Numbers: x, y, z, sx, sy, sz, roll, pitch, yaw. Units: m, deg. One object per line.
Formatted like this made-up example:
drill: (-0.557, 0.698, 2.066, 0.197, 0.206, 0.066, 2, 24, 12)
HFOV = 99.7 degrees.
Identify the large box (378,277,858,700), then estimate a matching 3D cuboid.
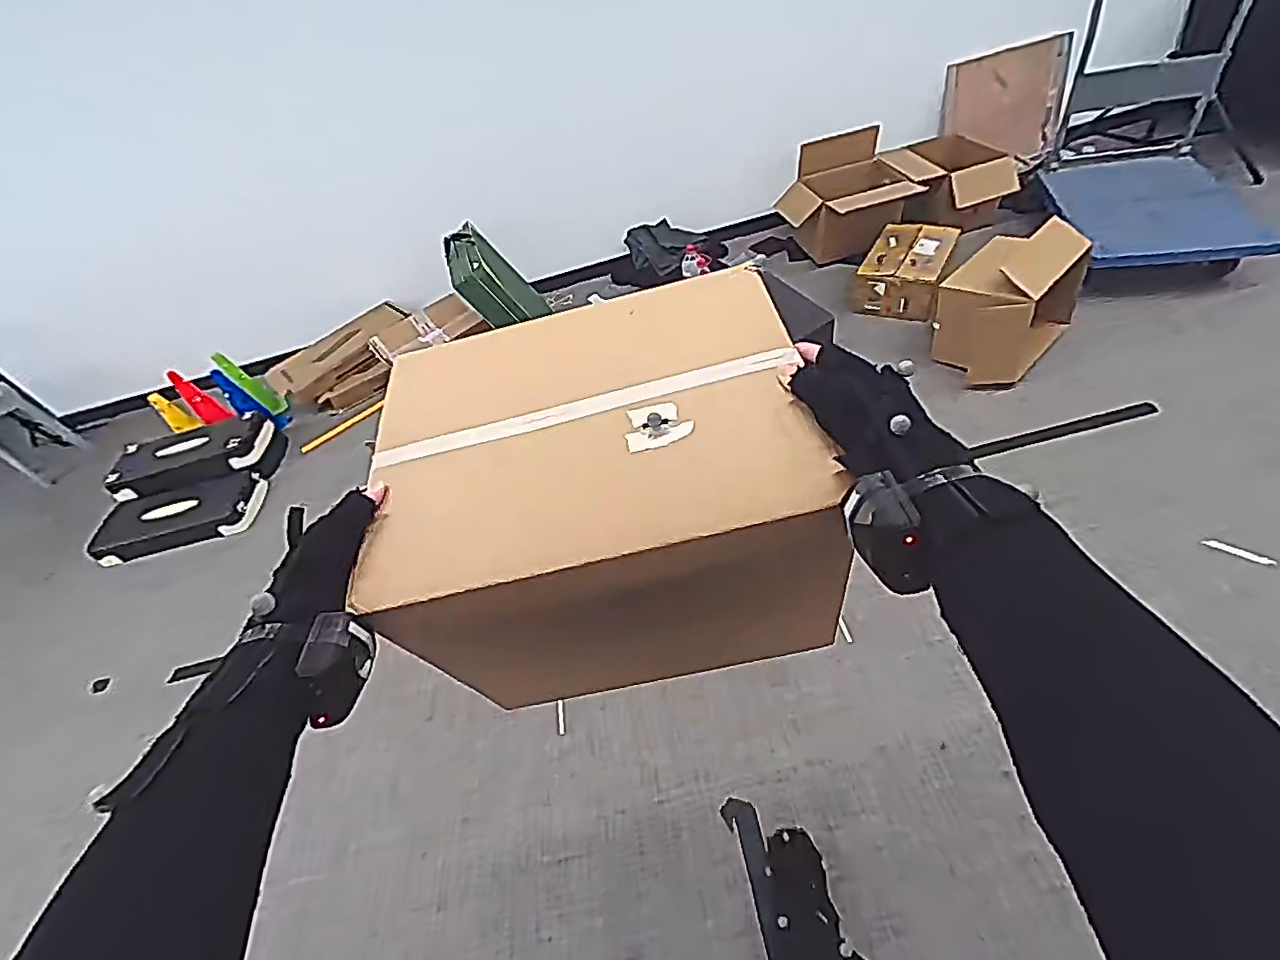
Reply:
large box: (-0.017, 0.026, 0.633, 0.408, 0.320, 0.320, -13, 53, 4)
